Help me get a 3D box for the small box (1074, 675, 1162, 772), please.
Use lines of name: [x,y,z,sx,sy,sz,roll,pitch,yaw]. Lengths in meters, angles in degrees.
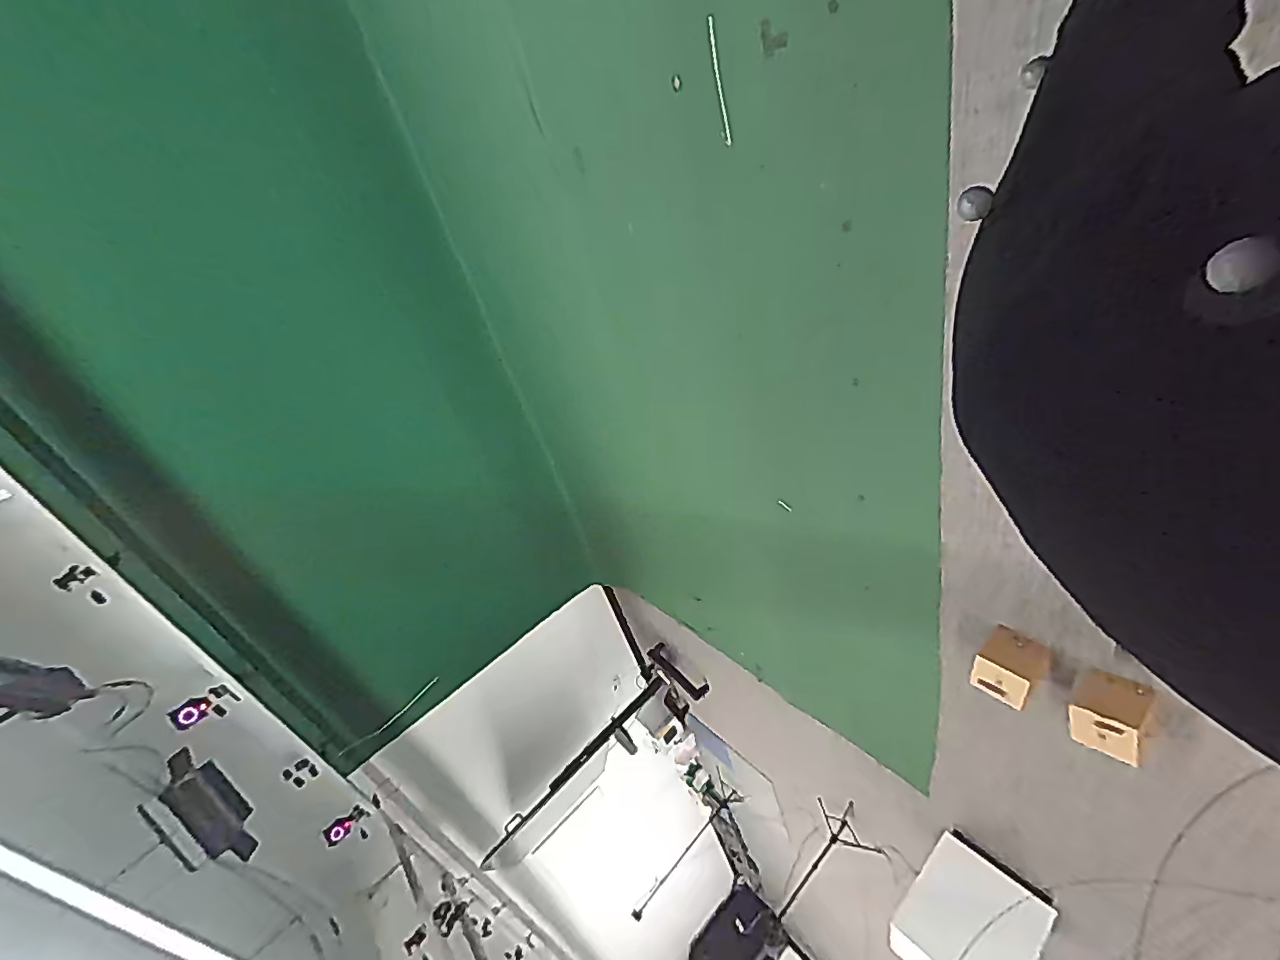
small box: [1.459,0.735,1.652,0.168,0.176,0.179,15,135,54]
